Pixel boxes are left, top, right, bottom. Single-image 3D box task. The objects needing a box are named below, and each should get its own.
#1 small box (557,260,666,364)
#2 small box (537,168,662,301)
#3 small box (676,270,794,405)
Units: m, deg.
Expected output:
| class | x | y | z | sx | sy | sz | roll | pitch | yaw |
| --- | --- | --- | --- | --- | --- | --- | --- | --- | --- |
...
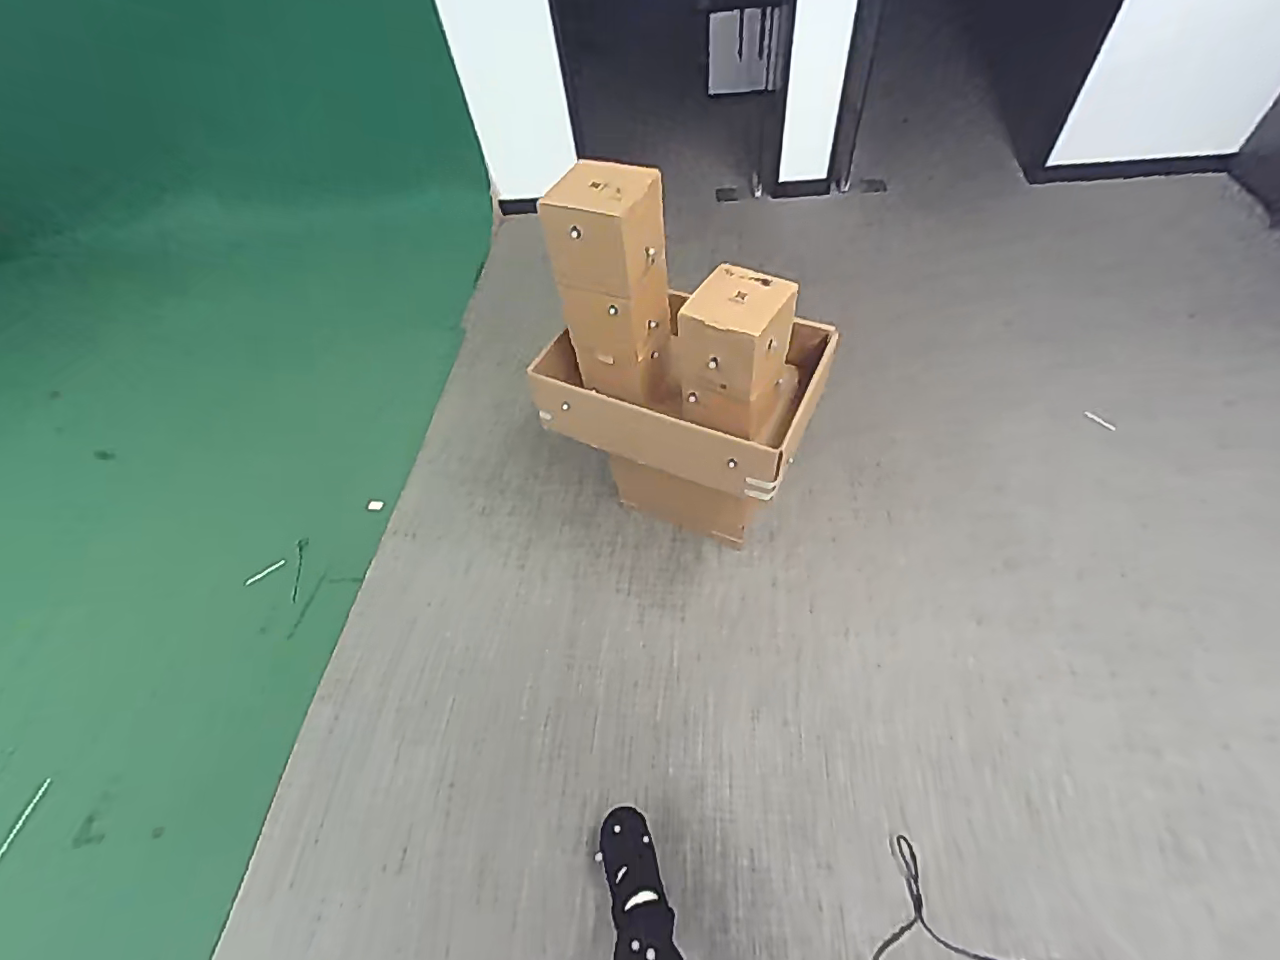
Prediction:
| class | x | y | z | sx | sy | sz | roll | pitch | yaw |
| --- | --- | --- | --- | --- | --- | --- | --- | --- | --- |
| small box | -0.055 | -0.379 | 1.184 | 0.179 | 0.176 | 0.168 | 20 | 59 | 18 |
| small box | -0.068 | -0.472 | 1.048 | 0.179 | 0.176 | 0.168 | 19 | 59 | 18 |
| small box | 0.189 | -0.281 | 1.081 | 0.168 | 0.176 | 0.179 | 27 | 62 | 22 |
